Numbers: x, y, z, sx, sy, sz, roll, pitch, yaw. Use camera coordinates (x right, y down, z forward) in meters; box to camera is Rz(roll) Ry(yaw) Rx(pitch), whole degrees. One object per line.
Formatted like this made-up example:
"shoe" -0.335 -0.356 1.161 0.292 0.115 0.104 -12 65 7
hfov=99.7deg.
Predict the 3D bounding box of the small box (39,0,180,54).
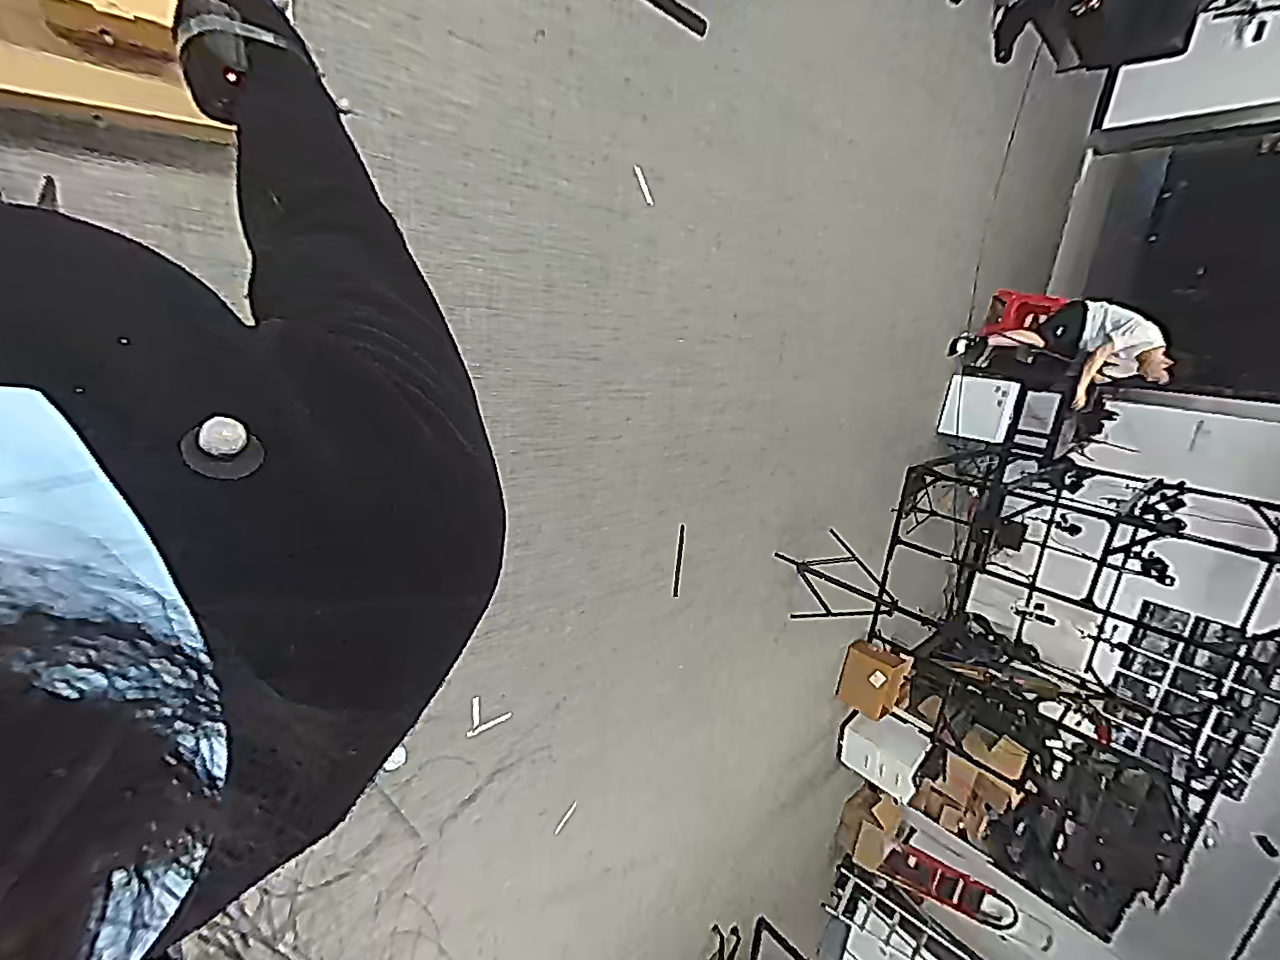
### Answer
"small box" -0.856 -0.821 0.852 0.168 0.176 0.179 -14 115 -39
